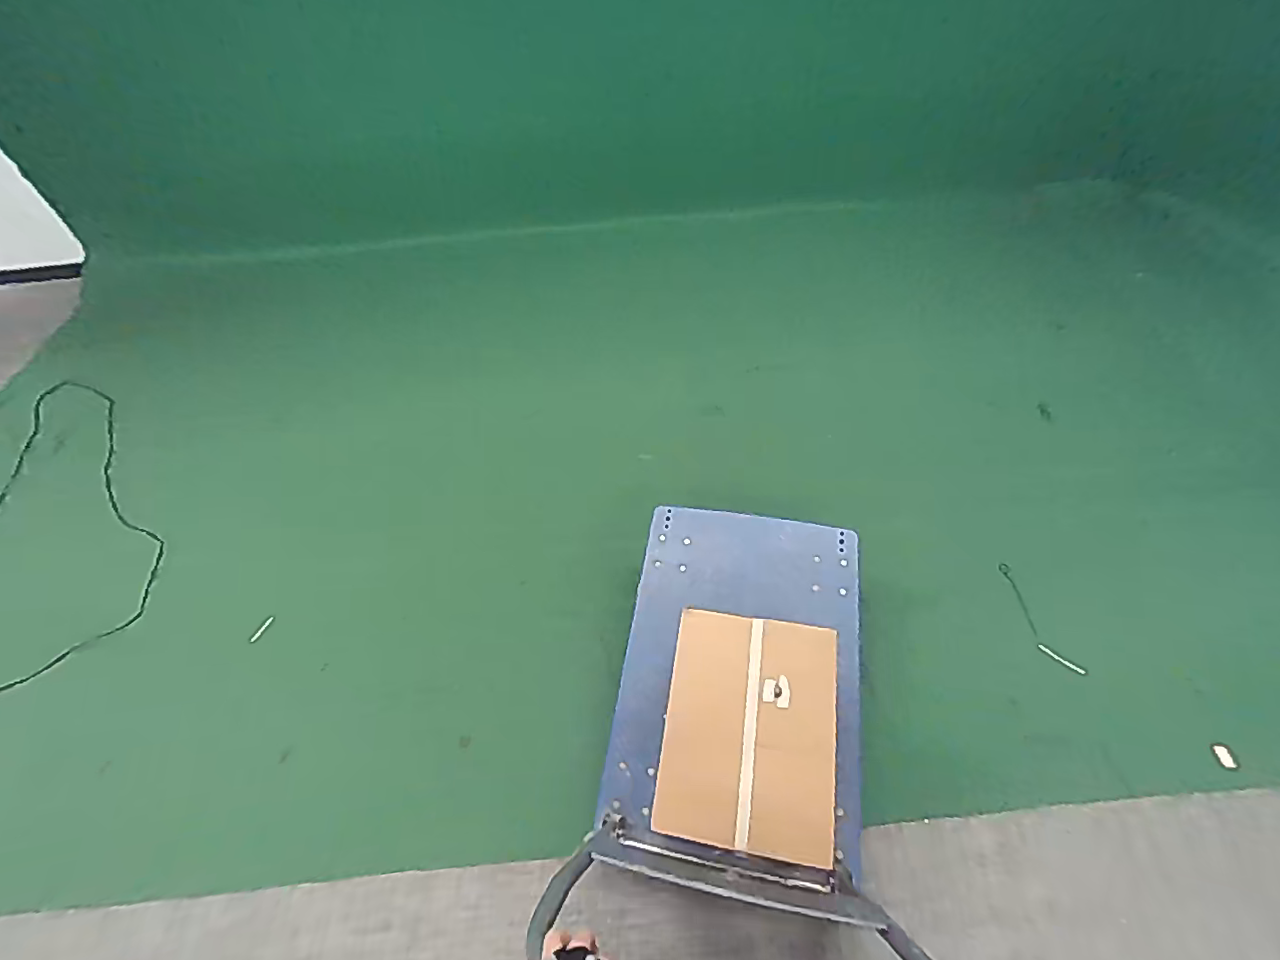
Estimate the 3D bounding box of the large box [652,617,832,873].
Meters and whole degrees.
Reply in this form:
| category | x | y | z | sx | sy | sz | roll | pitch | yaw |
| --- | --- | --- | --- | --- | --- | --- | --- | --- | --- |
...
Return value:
| category | x | y | z | sx | sy | sz | roll | pitch | yaw |
| --- | --- | --- | --- | --- | --- | --- | --- | --- | --- |
| large box | 0.219 | 0.549 | 1.150 | 0.320 | 0.320 | 0.408 | 6 | 61 | 10 |
